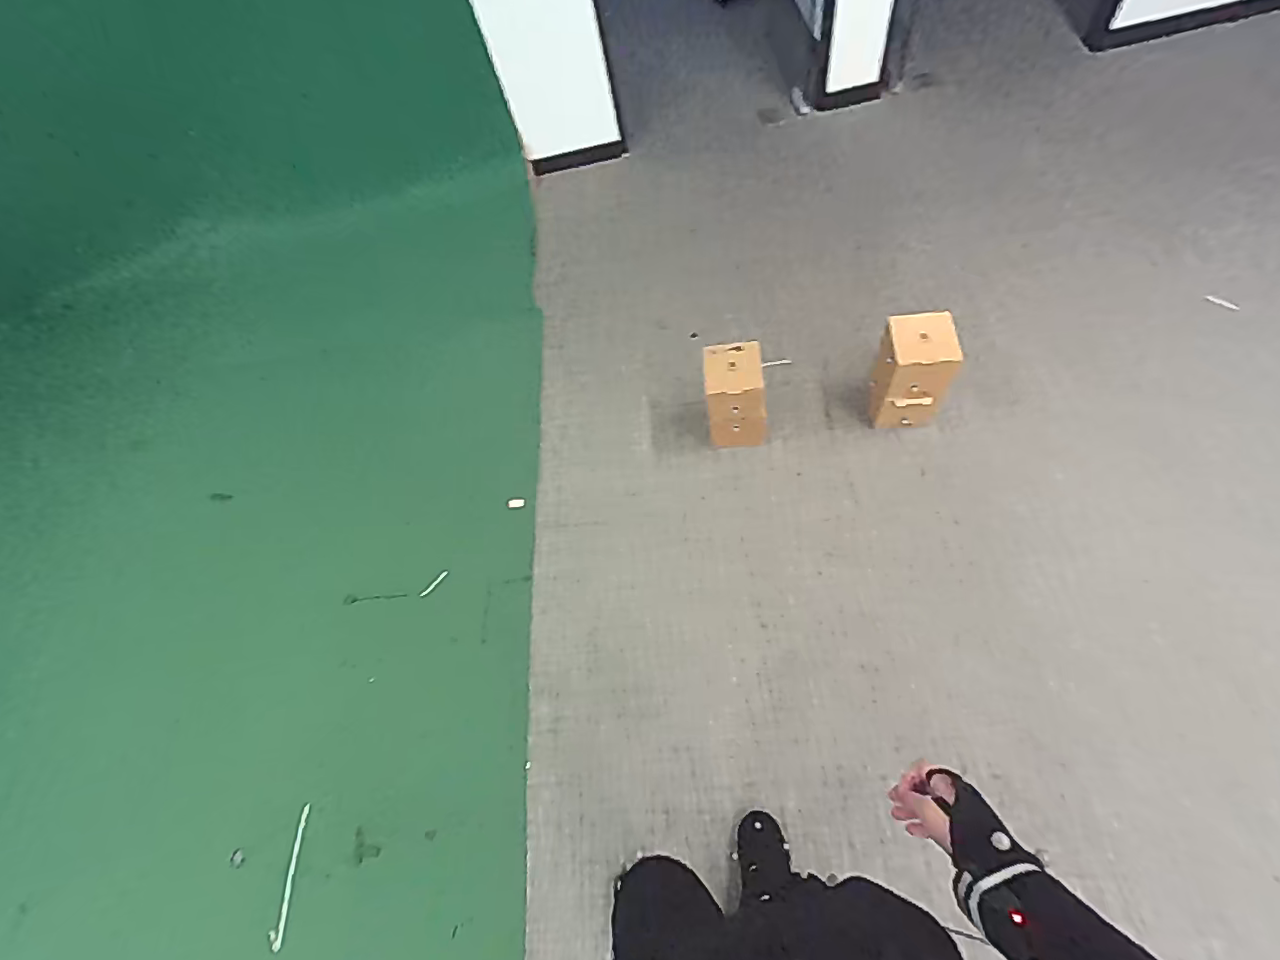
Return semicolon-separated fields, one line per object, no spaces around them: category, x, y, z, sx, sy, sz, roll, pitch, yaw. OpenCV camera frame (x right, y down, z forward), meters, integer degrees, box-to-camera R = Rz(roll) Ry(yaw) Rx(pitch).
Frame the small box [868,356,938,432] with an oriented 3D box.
small box;0.819;-0.271;1.699;0.168;0.176;0.179;1;64;14

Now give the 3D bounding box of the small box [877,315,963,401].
small box;0.798;-0.348;1.560;0.168;0.176;0.179;-2;63;10

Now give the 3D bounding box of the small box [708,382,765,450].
small box;0.317;-0.210;1.773;0.179;0.176;0.168;-3;63;10

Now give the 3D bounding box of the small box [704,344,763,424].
small box;0.283;-0.281;1.629;0.168;0.176;0.179;-4;63;10
